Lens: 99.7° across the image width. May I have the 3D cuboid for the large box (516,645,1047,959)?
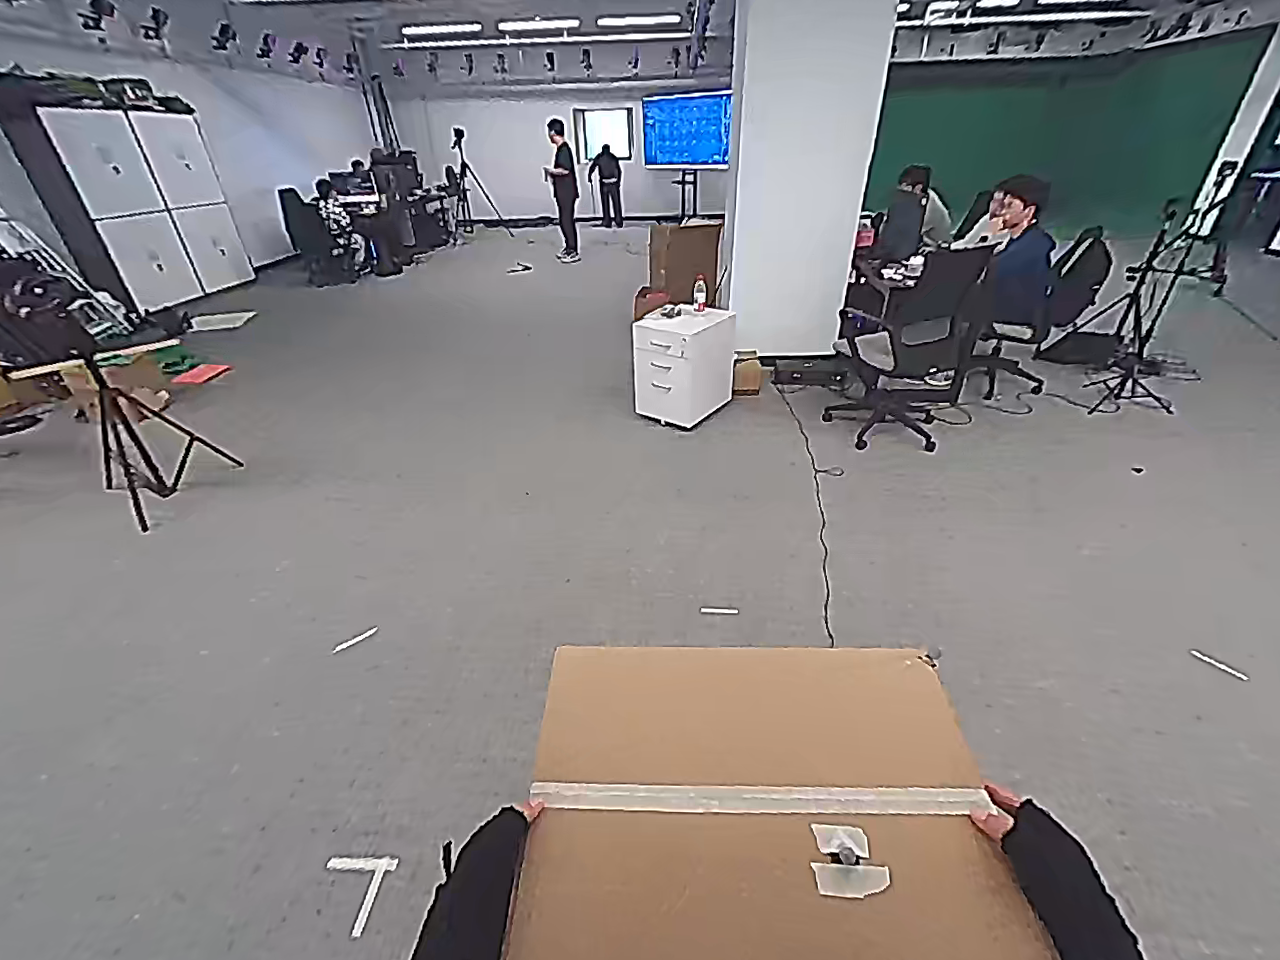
[{"bbox_3d":[0.111,0.400,0.588,0.408,0.320,0.320,0,40,4],"label":"large box"}]
